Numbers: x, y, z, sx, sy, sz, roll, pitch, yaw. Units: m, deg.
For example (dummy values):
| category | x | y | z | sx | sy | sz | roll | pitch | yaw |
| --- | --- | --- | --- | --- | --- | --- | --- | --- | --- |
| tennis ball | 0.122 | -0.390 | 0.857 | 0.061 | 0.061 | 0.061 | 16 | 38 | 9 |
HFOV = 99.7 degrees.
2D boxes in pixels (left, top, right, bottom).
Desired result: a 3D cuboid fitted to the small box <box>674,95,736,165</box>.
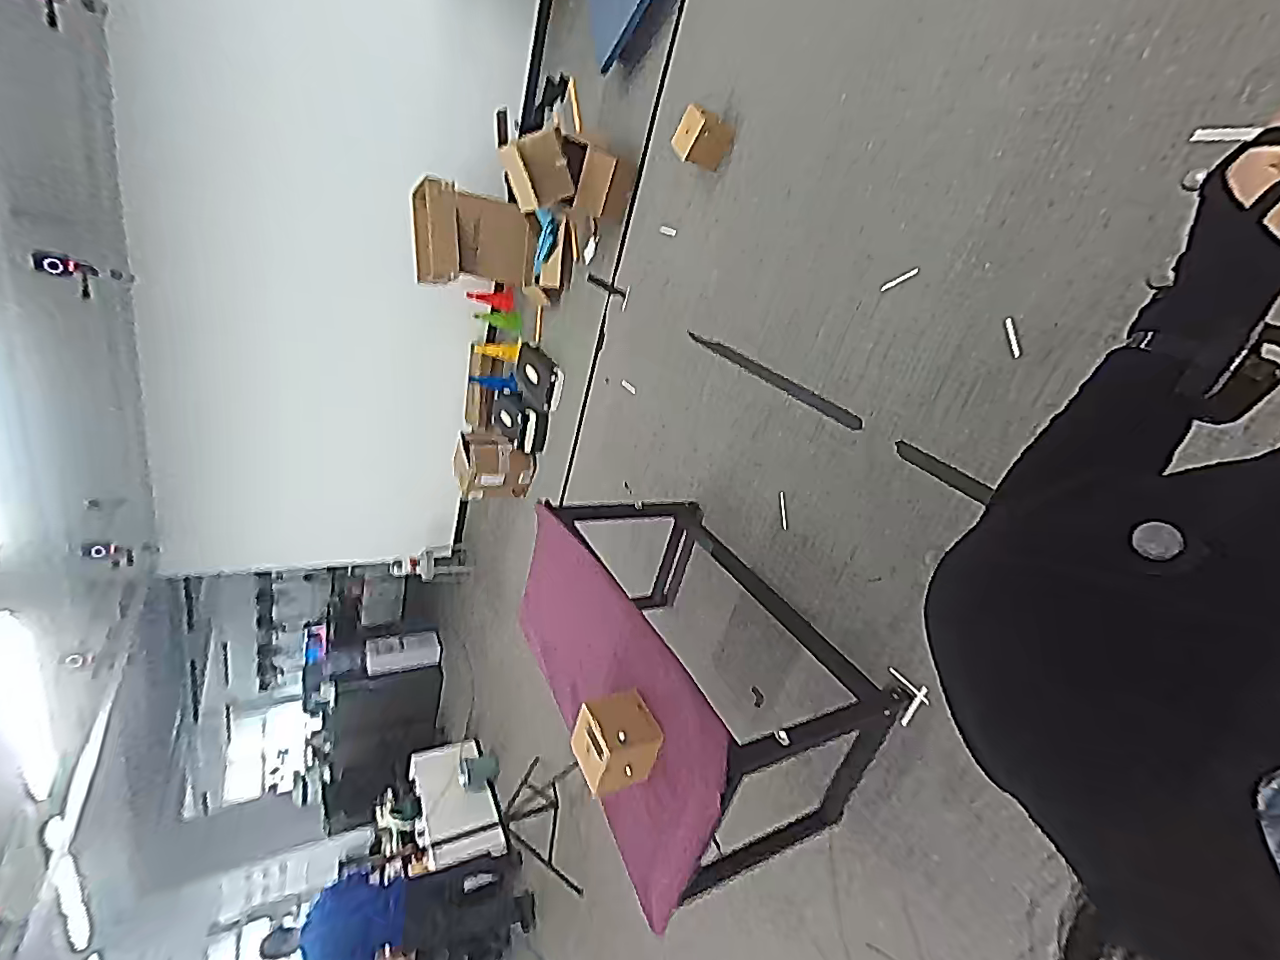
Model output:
| category | x | y | z | sx | sy | sz | roll | pitch | yaw |
| --- | --- | --- | --- | --- | --- | --- | --- | --- | --- |
| small box | 0.278 | -1.487 | 2.310 | 0.179 | 0.176 | 0.168 | -52 | 48 | 42 |
